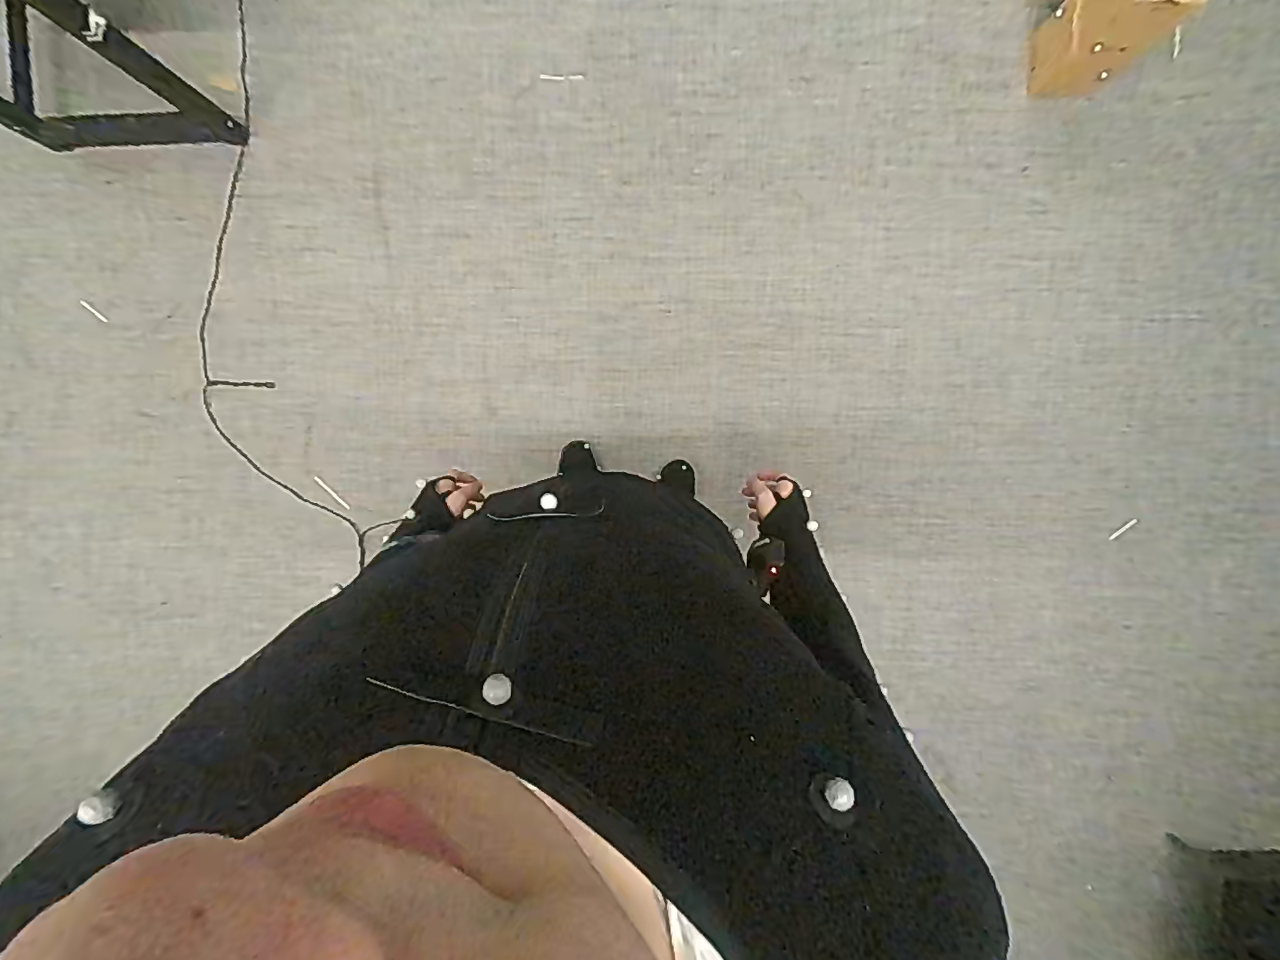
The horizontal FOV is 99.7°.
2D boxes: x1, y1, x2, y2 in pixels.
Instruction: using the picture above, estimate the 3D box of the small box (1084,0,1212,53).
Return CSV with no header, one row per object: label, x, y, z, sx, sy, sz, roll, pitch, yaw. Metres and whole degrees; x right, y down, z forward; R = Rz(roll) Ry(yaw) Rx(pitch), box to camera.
small box,1.208,-1.164,1.285,0.168,0.176,0.179,3,93,0
